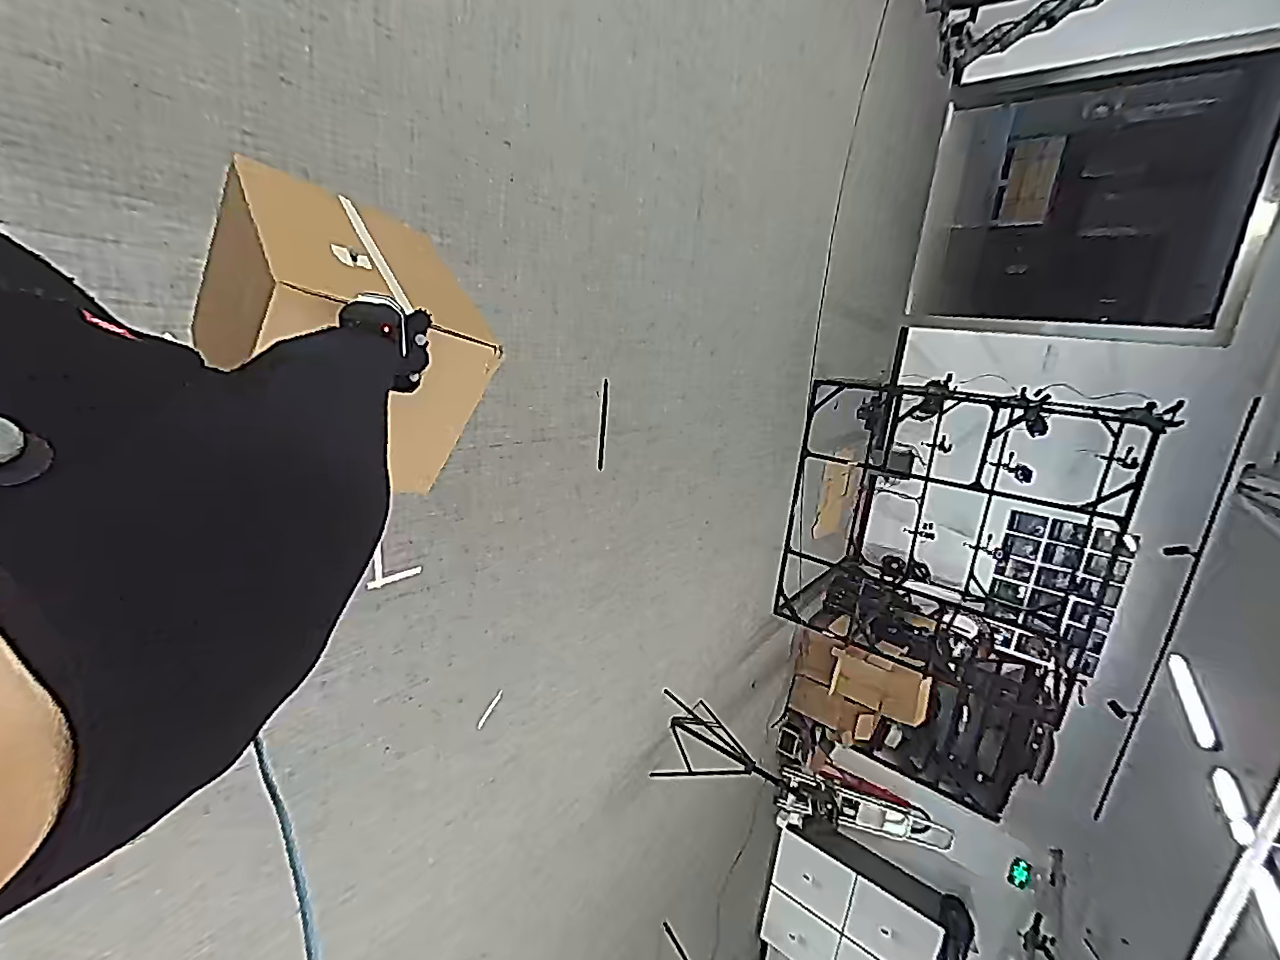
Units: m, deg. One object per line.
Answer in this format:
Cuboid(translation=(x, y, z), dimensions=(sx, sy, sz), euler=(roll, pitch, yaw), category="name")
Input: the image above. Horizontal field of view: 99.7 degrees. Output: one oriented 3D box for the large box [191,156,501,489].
Cuboid(translation=(-0.504, -0.239, 0.902), dimensions=(0.320, 0.408, 0.320), euler=(7, 129, -49), category="large box")
